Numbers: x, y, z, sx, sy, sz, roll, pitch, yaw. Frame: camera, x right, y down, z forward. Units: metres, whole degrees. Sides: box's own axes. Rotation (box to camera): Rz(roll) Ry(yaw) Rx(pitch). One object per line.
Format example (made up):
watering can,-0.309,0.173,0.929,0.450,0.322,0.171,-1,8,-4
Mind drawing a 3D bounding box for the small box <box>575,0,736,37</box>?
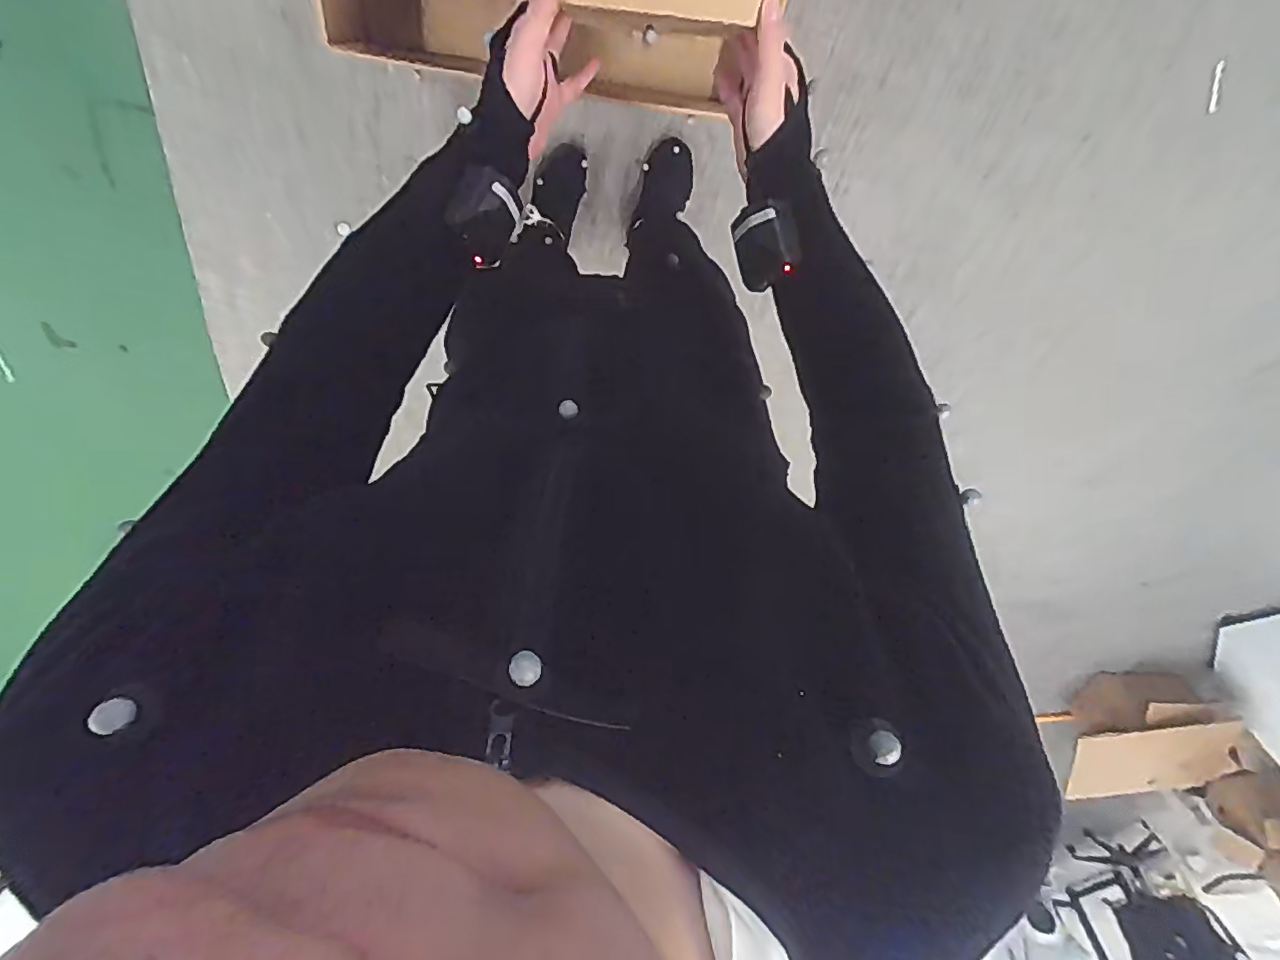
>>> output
small box,0.024,-0.586,0.564,0.168,0.176,0.179,4,129,-5
